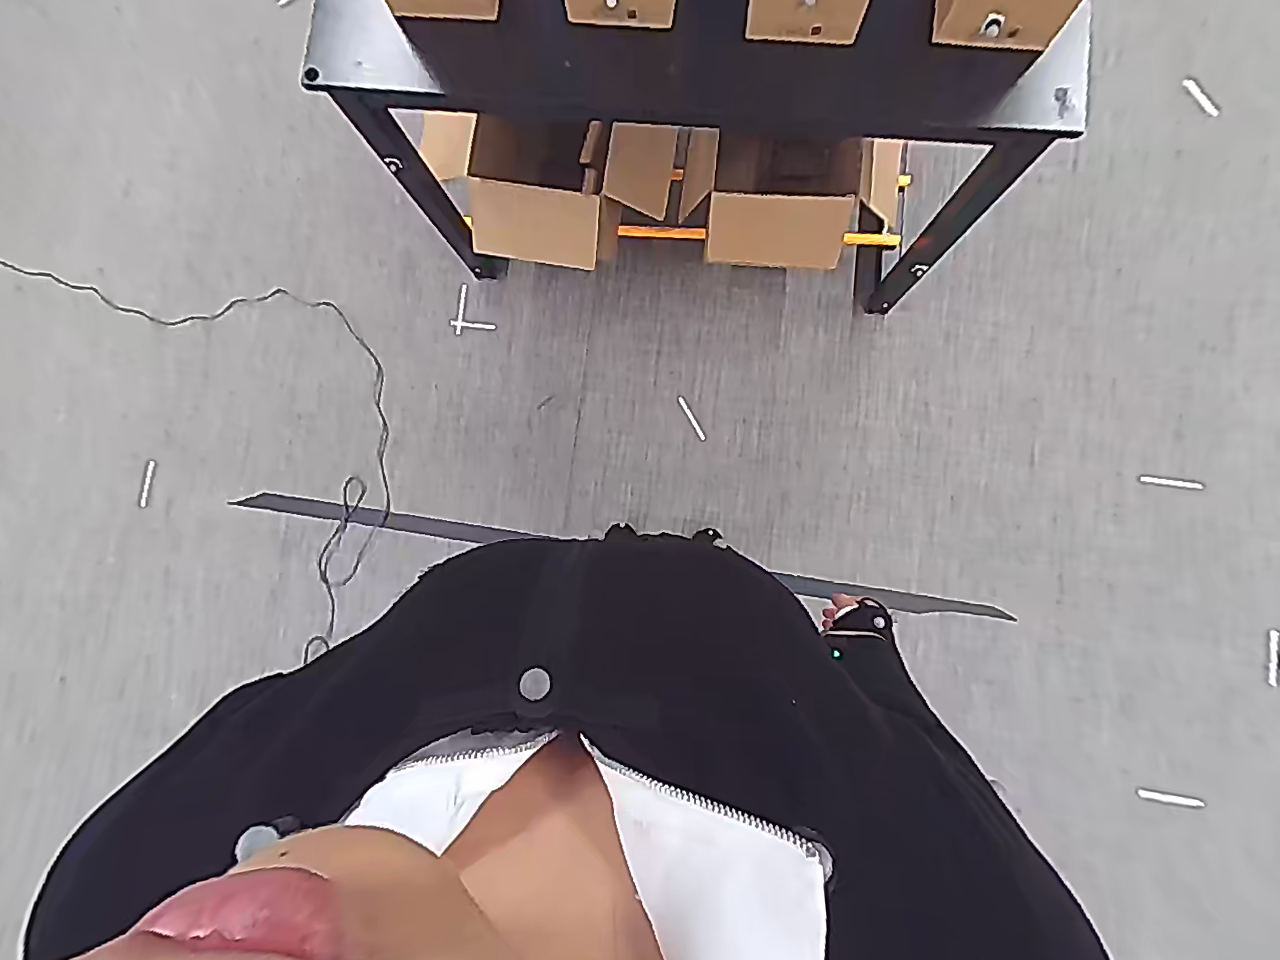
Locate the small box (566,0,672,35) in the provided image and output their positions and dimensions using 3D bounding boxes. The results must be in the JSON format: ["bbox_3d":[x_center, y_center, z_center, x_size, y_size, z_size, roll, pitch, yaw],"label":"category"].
[{"bbox_3d":[-0.030,-0.803,0.780,0.168,0.176,0.179,7,86,4],"label":"small box"}]

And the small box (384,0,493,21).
[{"bbox_3d":[-0.313,-0.827,0.798,0.179,0.176,0.168,6,85,4],"label":"small box"}]

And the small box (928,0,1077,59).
[{"bbox_3d":[0.518,-0.733,0.741,0.168,0.176,0.179,7,86,6],"label":"small box"}]

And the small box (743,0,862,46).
[{"bbox_3d":[0.242,-0.760,0.761,0.168,0.176,0.179,7,86,5],"label":"small box"}]
